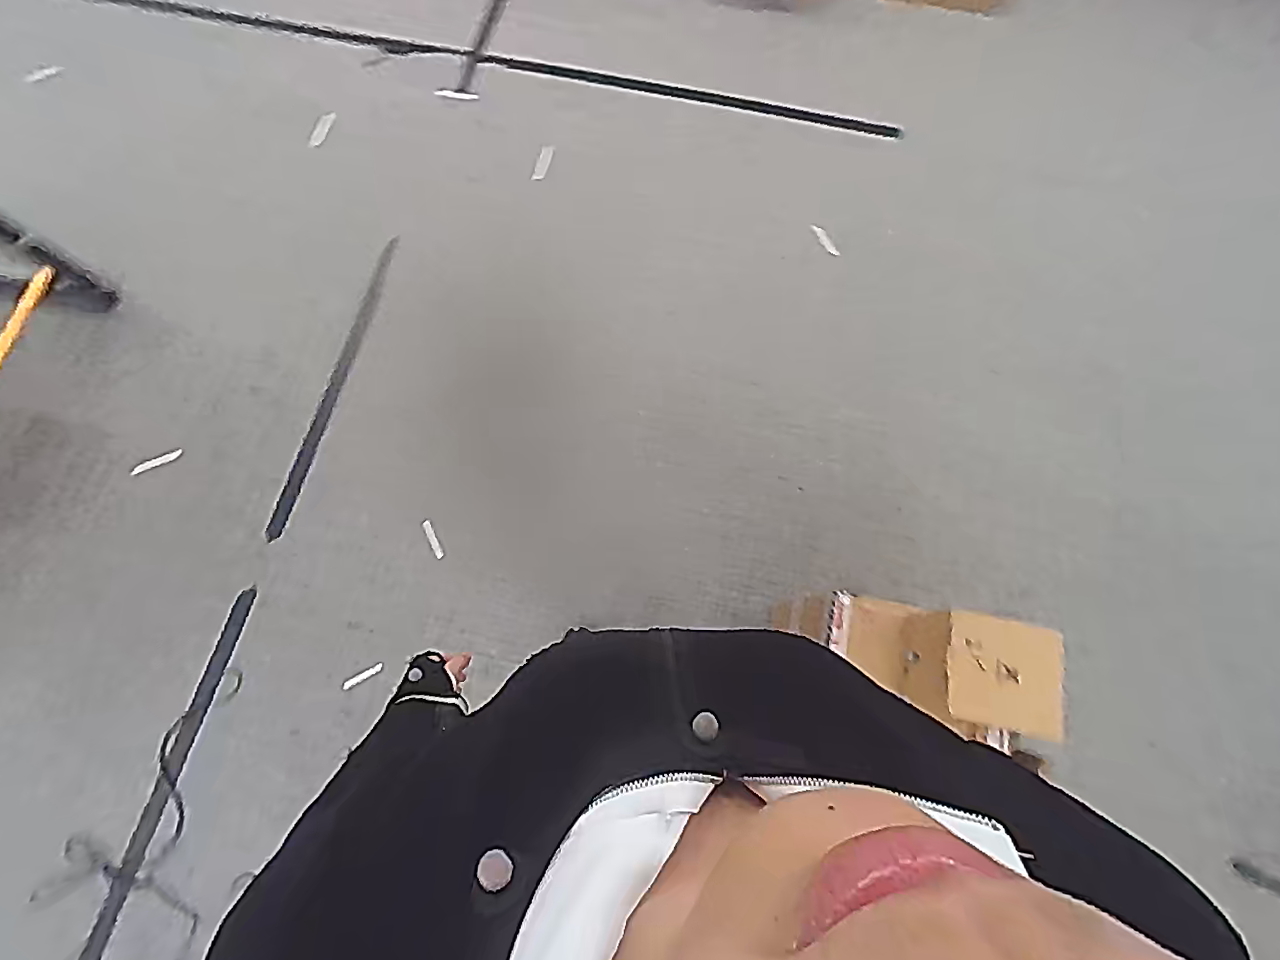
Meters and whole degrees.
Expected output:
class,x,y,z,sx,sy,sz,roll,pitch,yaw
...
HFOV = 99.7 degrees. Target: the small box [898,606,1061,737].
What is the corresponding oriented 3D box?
class,x,y,z,sx,sy,sz,roll,pitch,yaw
small box,0.571,0.320,0.923,0.179,0.176,0.168,12,72,5
